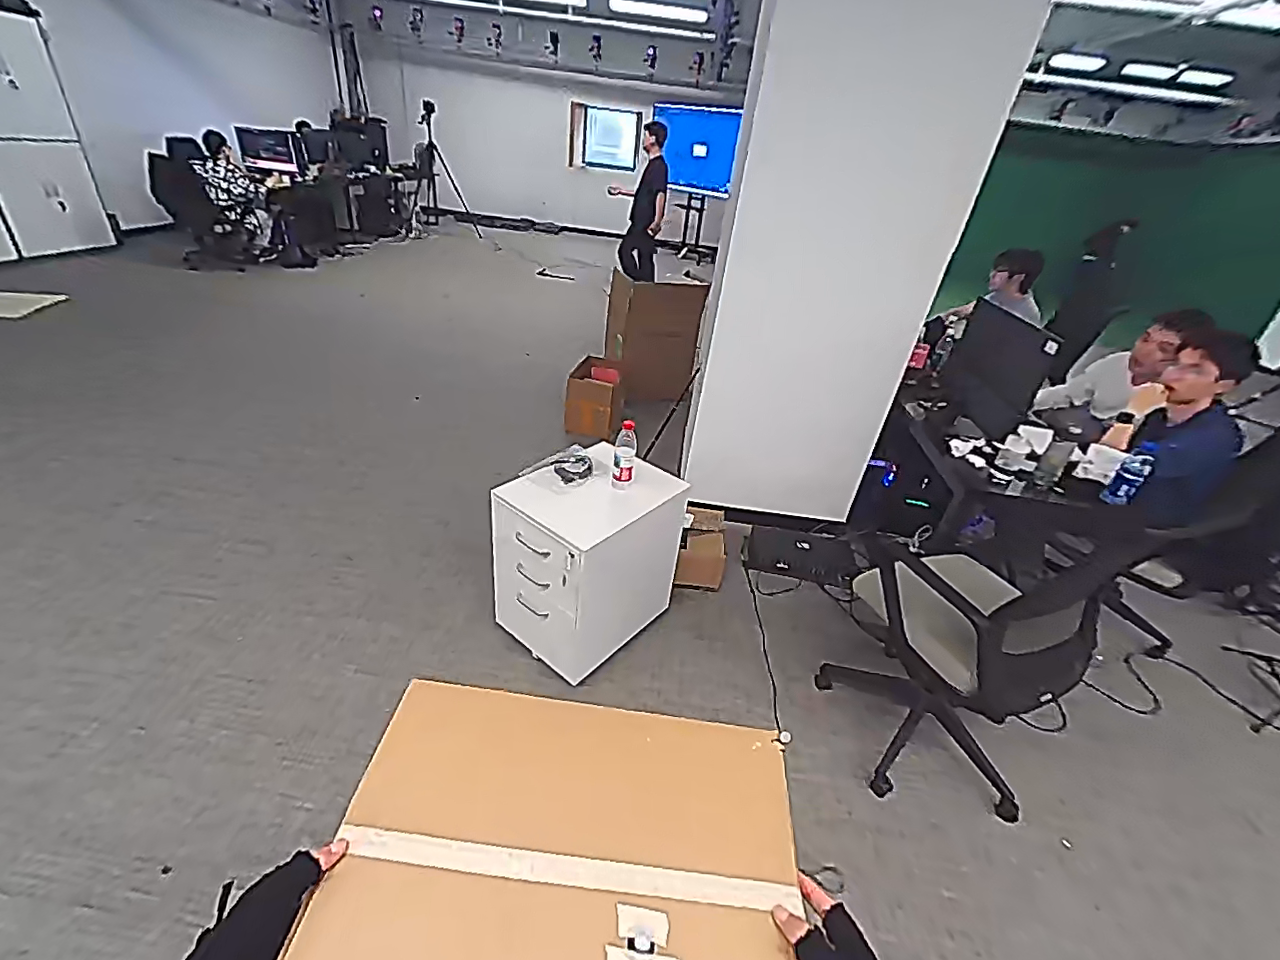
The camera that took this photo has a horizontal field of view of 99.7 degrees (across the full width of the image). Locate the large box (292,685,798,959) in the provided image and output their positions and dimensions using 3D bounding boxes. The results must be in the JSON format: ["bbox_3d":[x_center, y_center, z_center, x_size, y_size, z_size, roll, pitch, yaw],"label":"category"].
[{"bbox_3d":[-0.082,0.462,0.565,0.408,0.320,0.320,9,37,0],"label":"large box"}]
